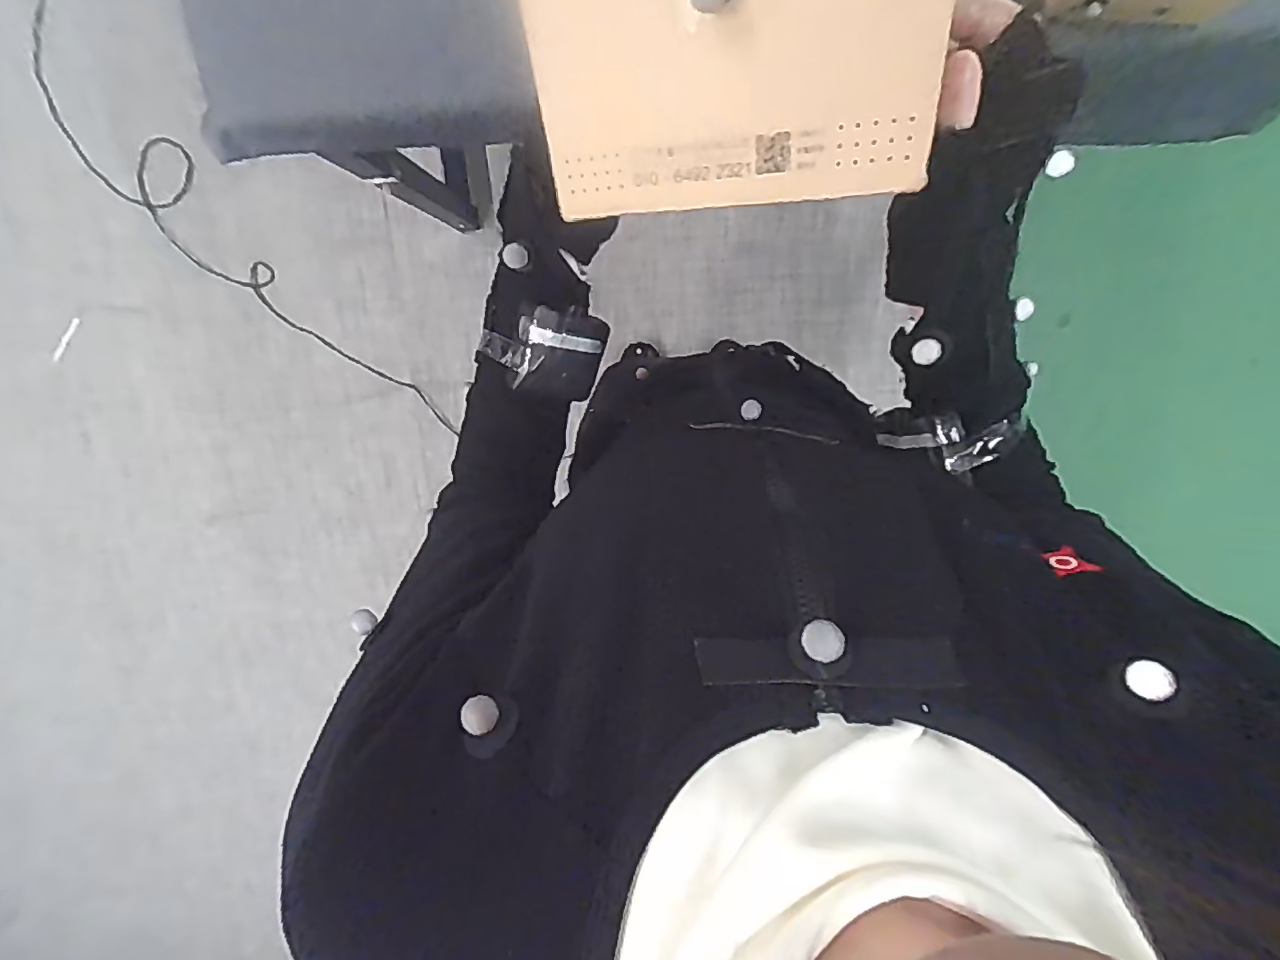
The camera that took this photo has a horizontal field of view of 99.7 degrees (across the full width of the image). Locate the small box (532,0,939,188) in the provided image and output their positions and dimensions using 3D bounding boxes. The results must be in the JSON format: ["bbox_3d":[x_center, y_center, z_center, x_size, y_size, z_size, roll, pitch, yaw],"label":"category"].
[{"bbox_3d":[0.053,-0.250,0.263,0.168,0.179,0.176,6,131,18],"label":"small box"}]

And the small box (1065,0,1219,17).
[{"bbox_3d":[0.495,-0.541,0.458,0.168,0.176,0.179,5,104,1],"label":"small box"}]
